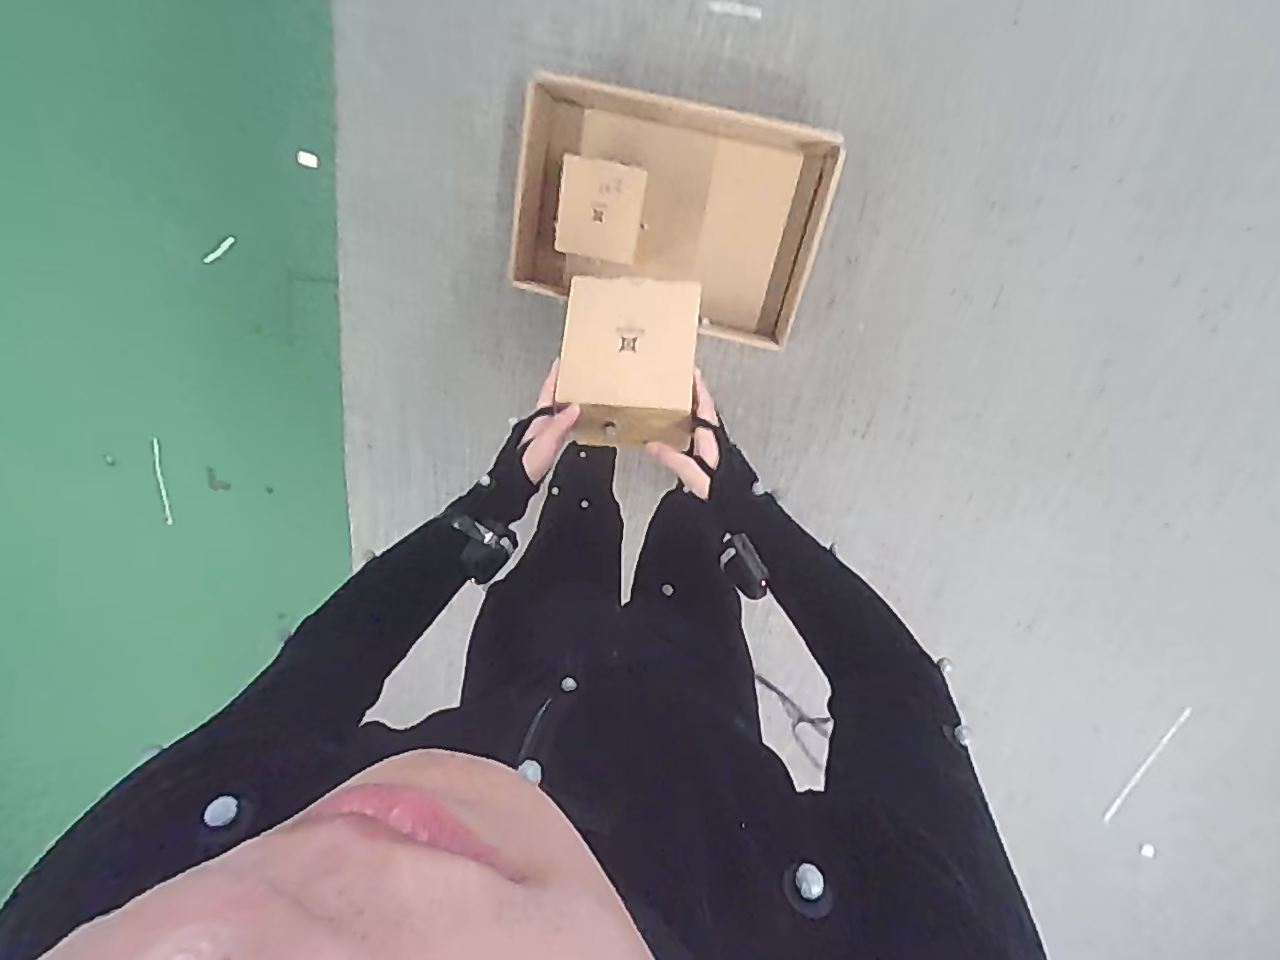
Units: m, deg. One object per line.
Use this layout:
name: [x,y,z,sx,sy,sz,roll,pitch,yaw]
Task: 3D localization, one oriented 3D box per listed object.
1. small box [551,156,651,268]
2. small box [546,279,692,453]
small box: [-0.077,-0.555,1.138,0.168,0.176,0.179,13,113,2]
small box: [-0.019,-0.144,0.728,0.168,0.176,0.179,4,75,4]
